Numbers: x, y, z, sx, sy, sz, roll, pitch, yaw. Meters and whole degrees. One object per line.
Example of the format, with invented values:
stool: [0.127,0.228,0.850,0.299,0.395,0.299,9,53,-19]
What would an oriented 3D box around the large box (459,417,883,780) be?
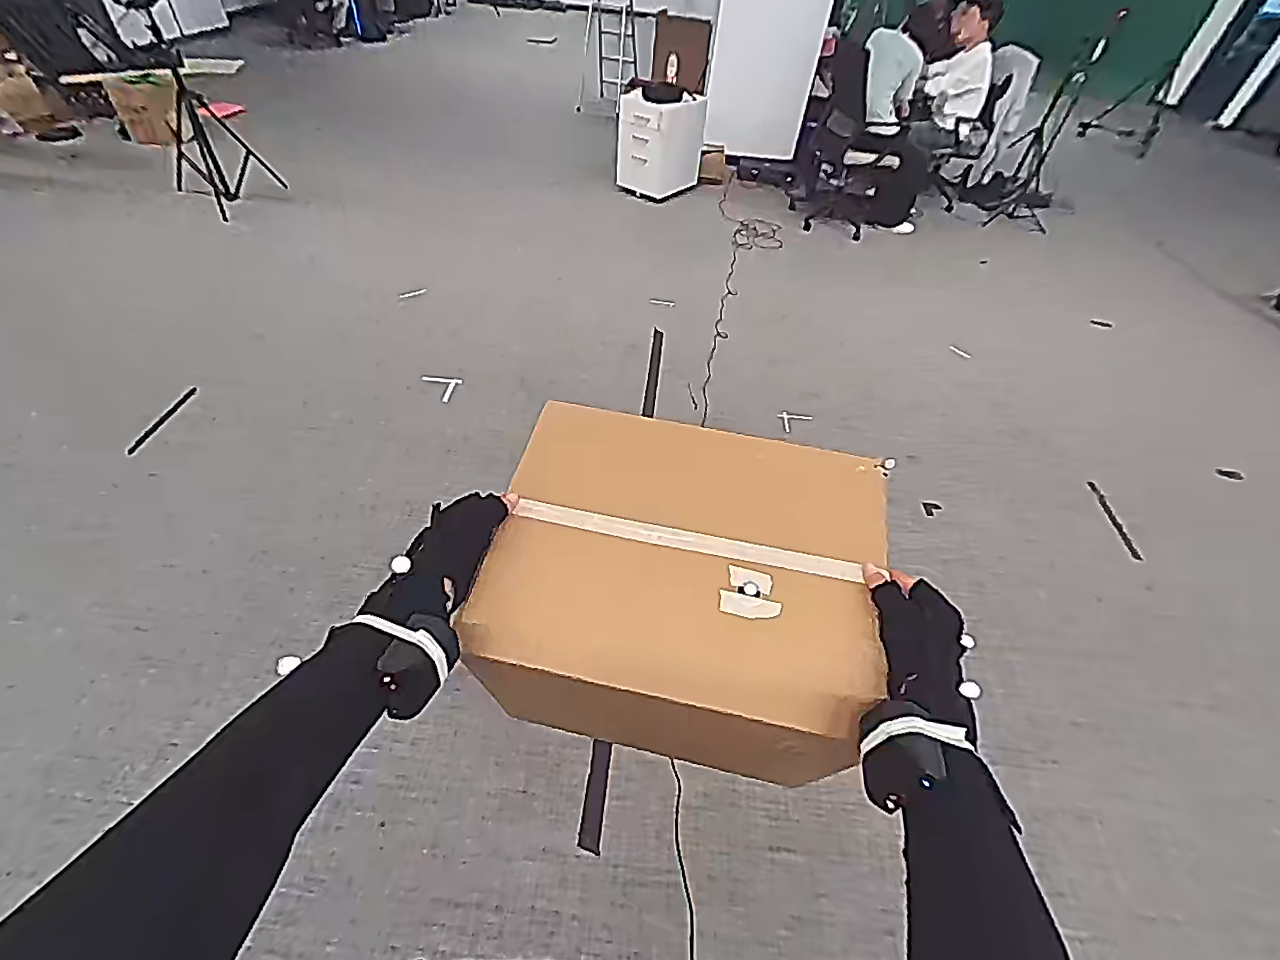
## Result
large box: [0.043,0.160,0.697,0.408,0.320,0.320,11,56,5]
